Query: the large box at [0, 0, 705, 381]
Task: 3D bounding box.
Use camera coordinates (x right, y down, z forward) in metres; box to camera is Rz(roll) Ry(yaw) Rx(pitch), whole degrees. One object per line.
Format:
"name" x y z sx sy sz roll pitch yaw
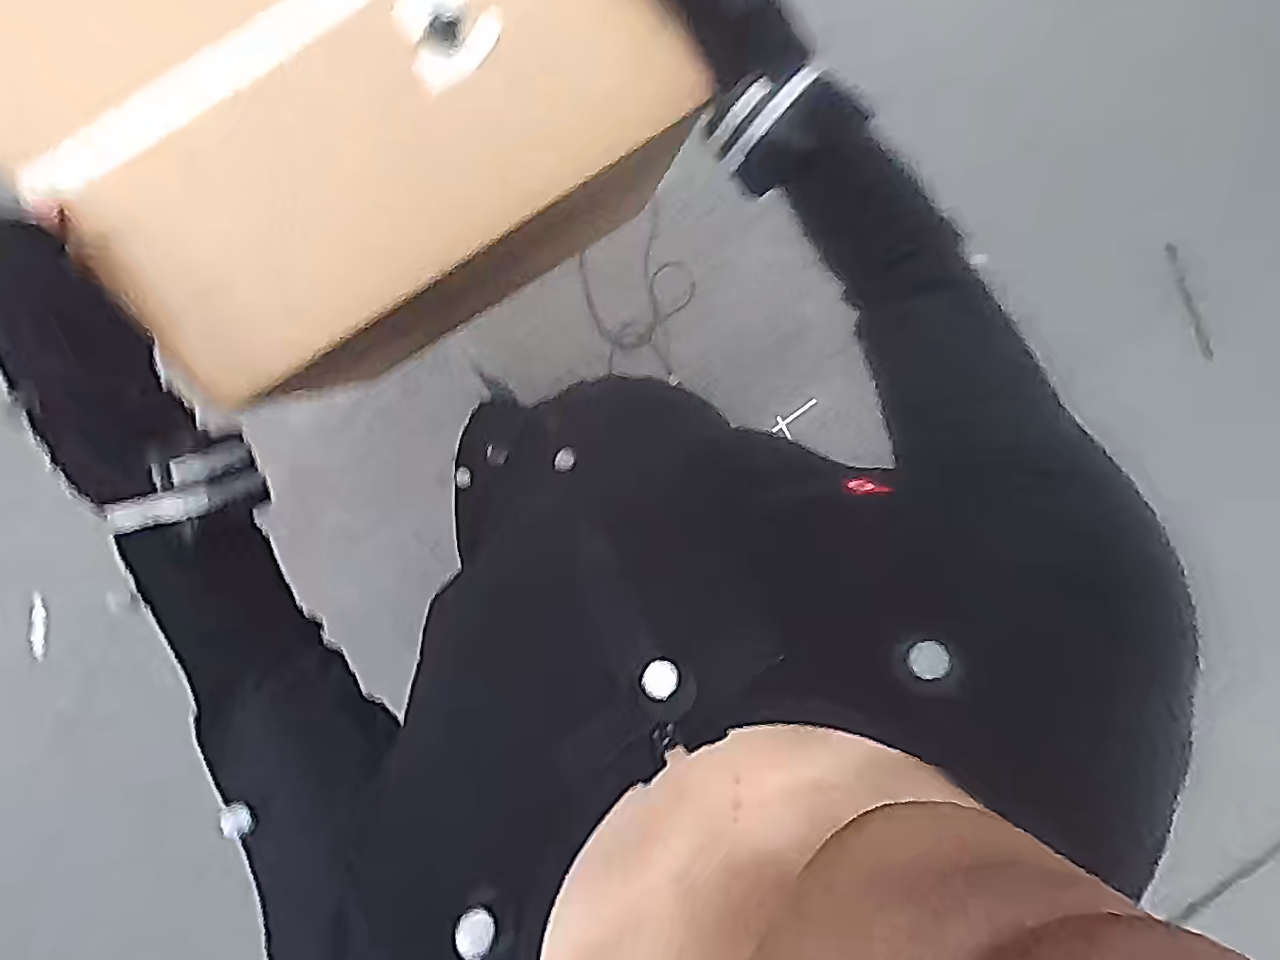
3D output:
"large box" -0.218 -0.327 0.485 0.408 0.320 0.320 -33 106 -1
